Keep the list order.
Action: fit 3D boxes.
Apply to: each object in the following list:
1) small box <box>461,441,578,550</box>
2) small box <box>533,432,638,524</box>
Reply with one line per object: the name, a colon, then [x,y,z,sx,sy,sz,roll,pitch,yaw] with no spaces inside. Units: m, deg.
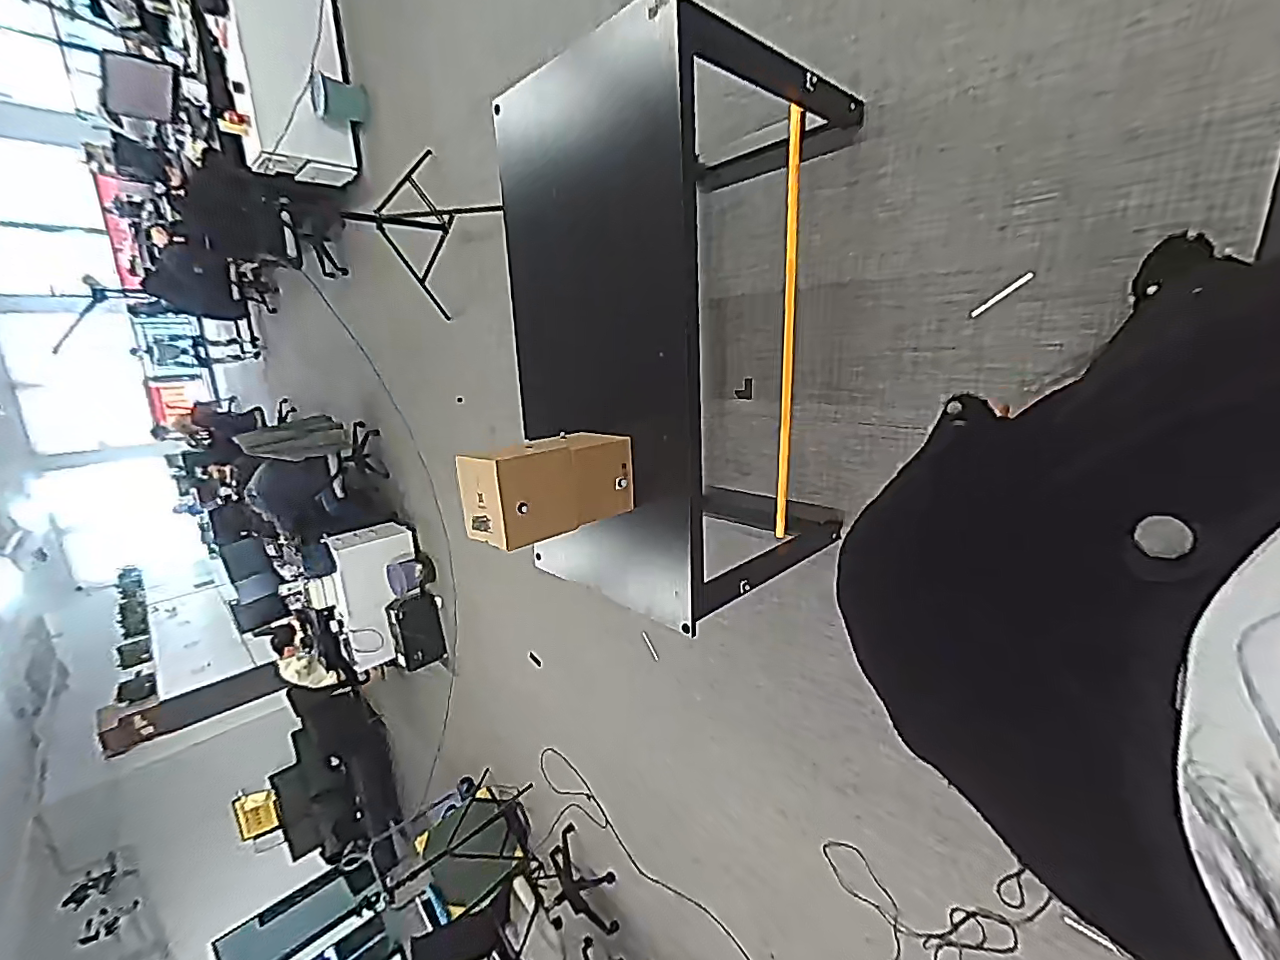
small box: [-0.240,0.022,1.101,0.168,0.176,0.179,8,107,47]
small box: [-0.124,-0.013,1.213,0.179,0.176,0.168,10,109,45]
